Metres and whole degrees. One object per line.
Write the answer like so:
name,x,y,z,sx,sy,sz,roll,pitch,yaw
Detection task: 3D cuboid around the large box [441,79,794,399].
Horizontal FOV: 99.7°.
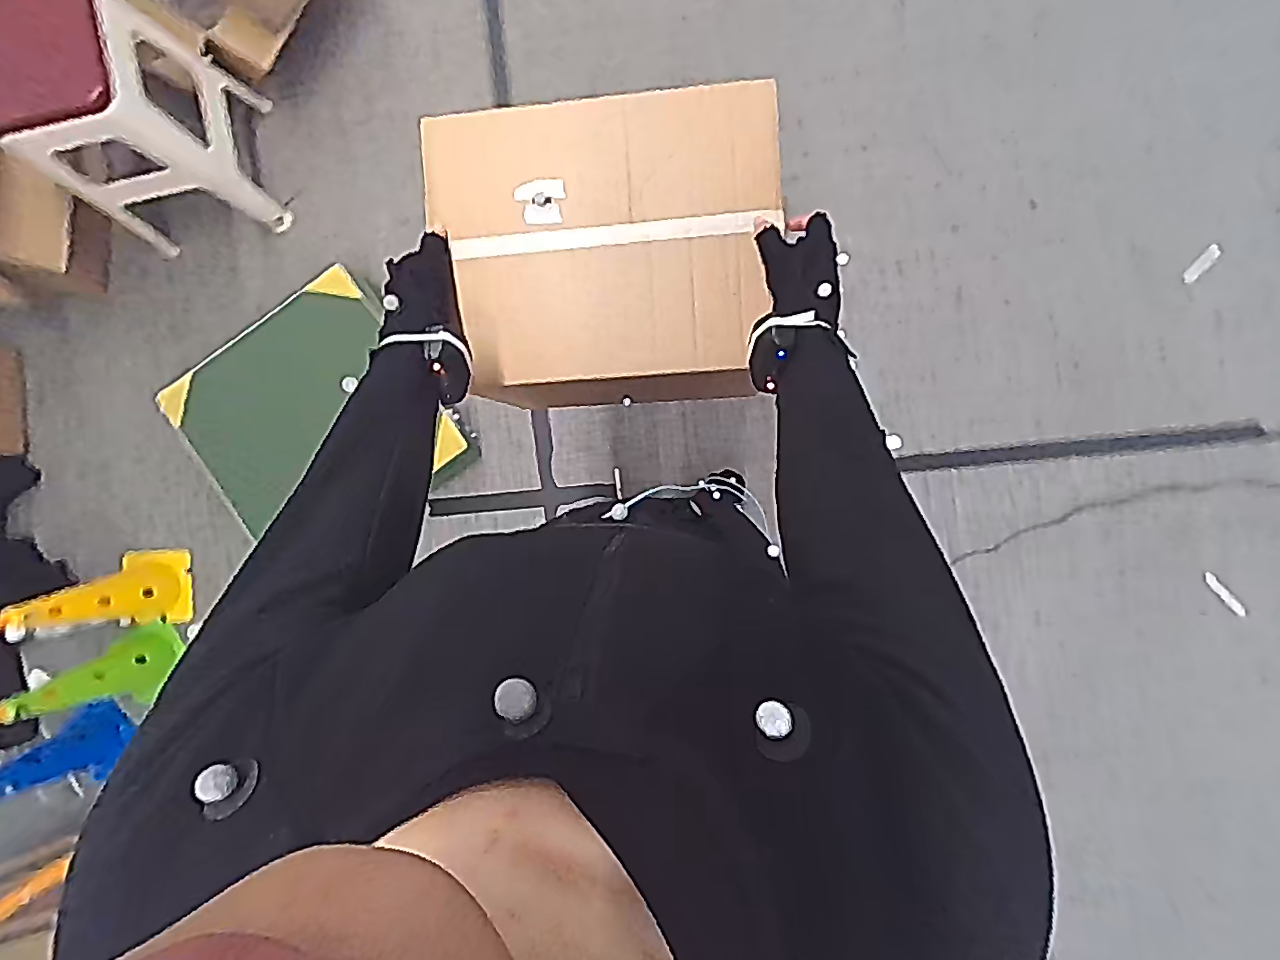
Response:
large box,-0.015,-0.289,0.767,0.408,0.320,0.320,-2,92,6
